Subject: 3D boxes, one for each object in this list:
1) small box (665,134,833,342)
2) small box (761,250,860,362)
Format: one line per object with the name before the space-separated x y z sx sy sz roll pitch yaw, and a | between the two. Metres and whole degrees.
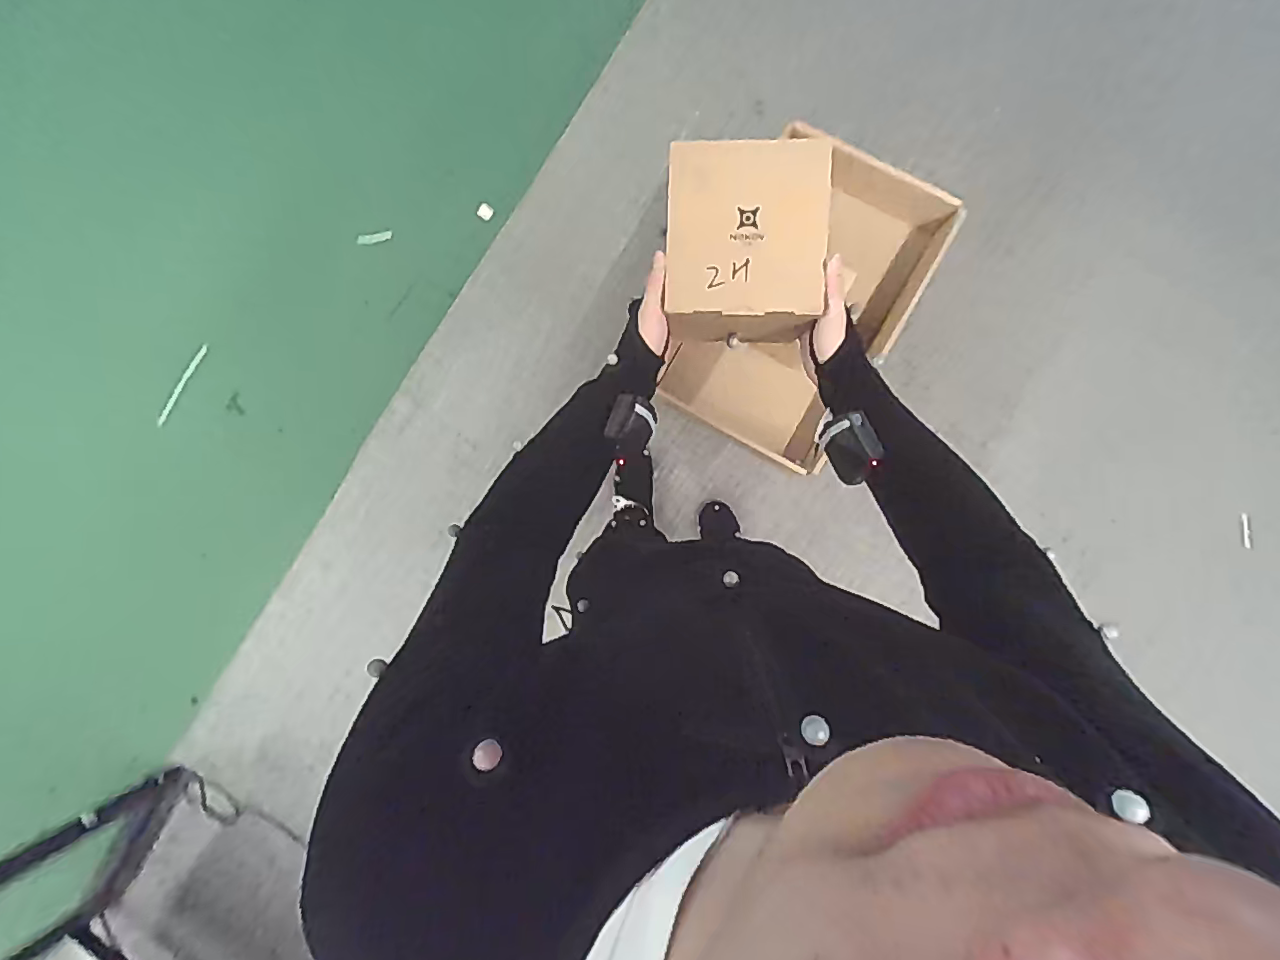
small box | 0.115 -0.266 0.628 0.168 0.176 0.179 1 95 5
small box | 0.317 -0.369 1.119 0.168 0.176 0.179 31 91 5
